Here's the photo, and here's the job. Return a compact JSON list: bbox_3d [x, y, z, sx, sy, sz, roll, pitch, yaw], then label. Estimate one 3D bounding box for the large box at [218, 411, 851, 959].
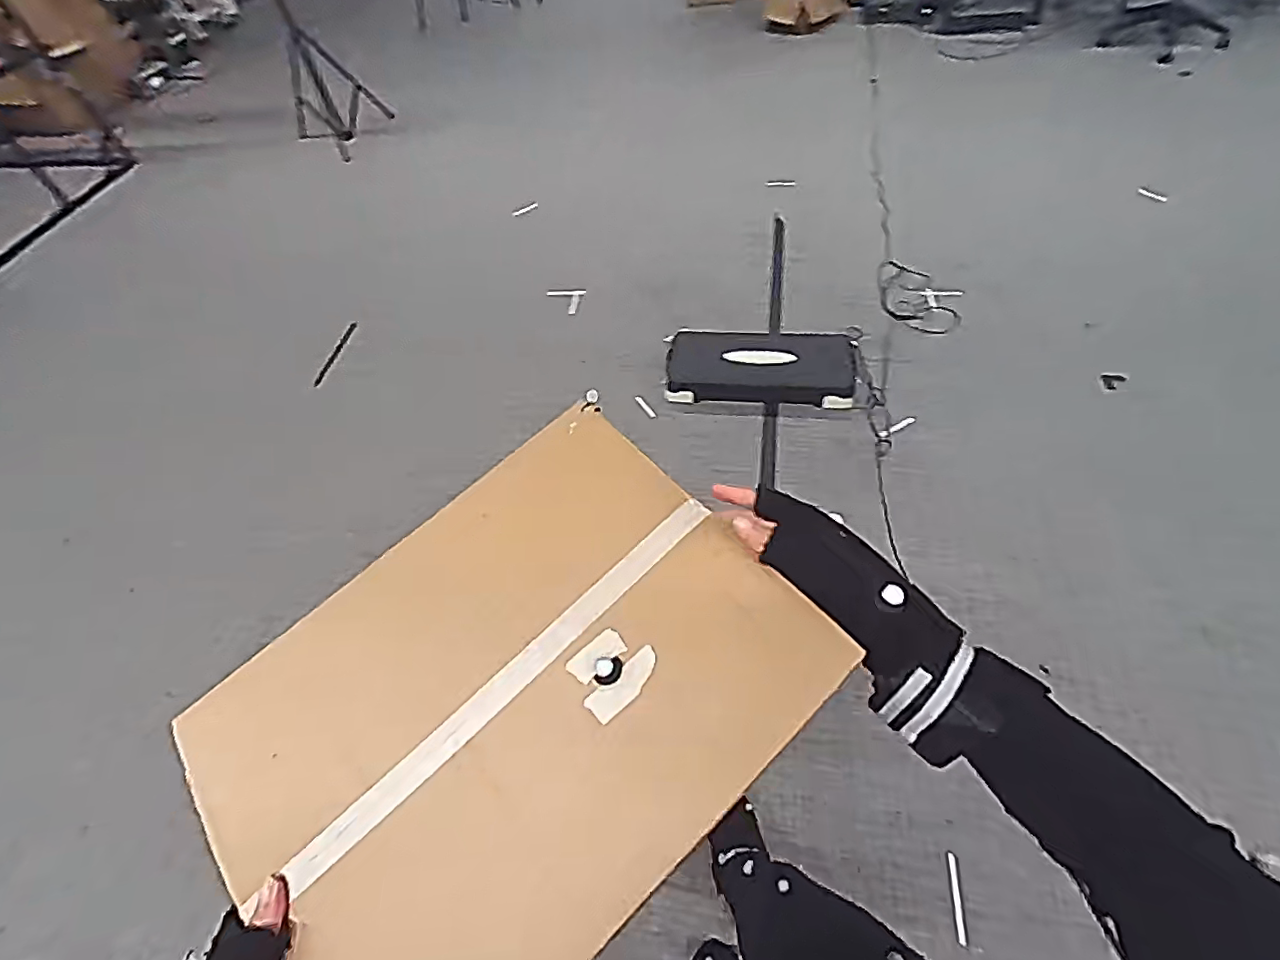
[{"bbox_3d":[-0.071,0.221,0.534,0.408,0.320,0.320,-40,64,-14],"label":"large box"}]
